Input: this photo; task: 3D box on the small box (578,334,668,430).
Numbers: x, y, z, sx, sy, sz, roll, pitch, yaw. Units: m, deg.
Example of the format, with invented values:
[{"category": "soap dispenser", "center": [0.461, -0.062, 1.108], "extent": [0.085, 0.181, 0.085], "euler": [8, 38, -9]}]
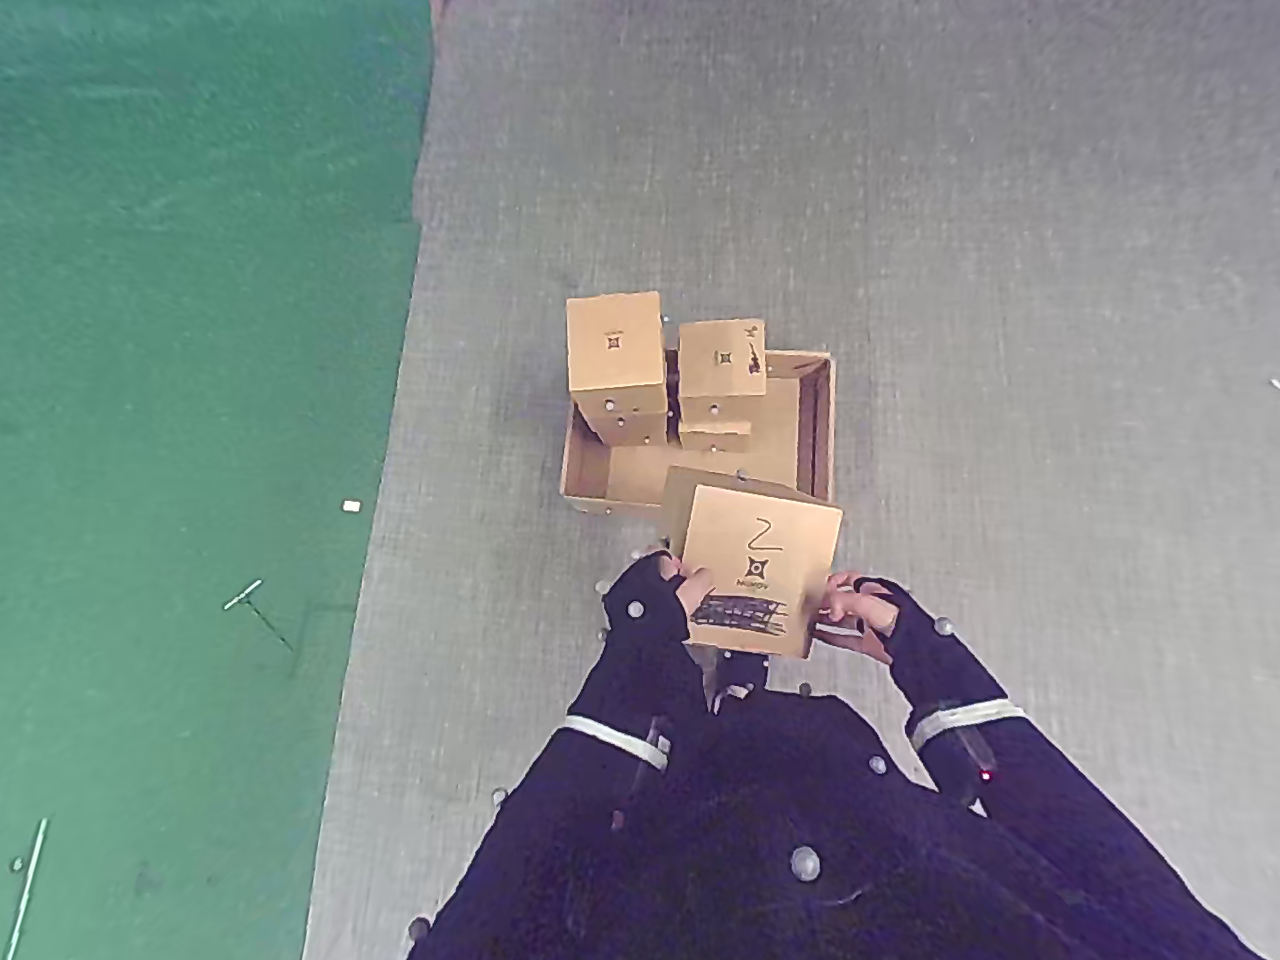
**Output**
[{"category": "small box", "center": [-0.030, -0.210, 1.177], "extent": [0.179, 0.176, 0.168], "euler": [0, 80, 7]}]

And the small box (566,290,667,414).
[{"category": "small box", "center": [-0.039, -0.228, 1.015], "extent": [0.168, 0.176, 0.179], "euler": [-4, 79, 6]}]

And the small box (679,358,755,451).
[{"category": "small box", "center": [0.188, -0.179, 1.311], "extent": [0.168, 0.176, 0.179], "euler": [3, 80, 10]}]
